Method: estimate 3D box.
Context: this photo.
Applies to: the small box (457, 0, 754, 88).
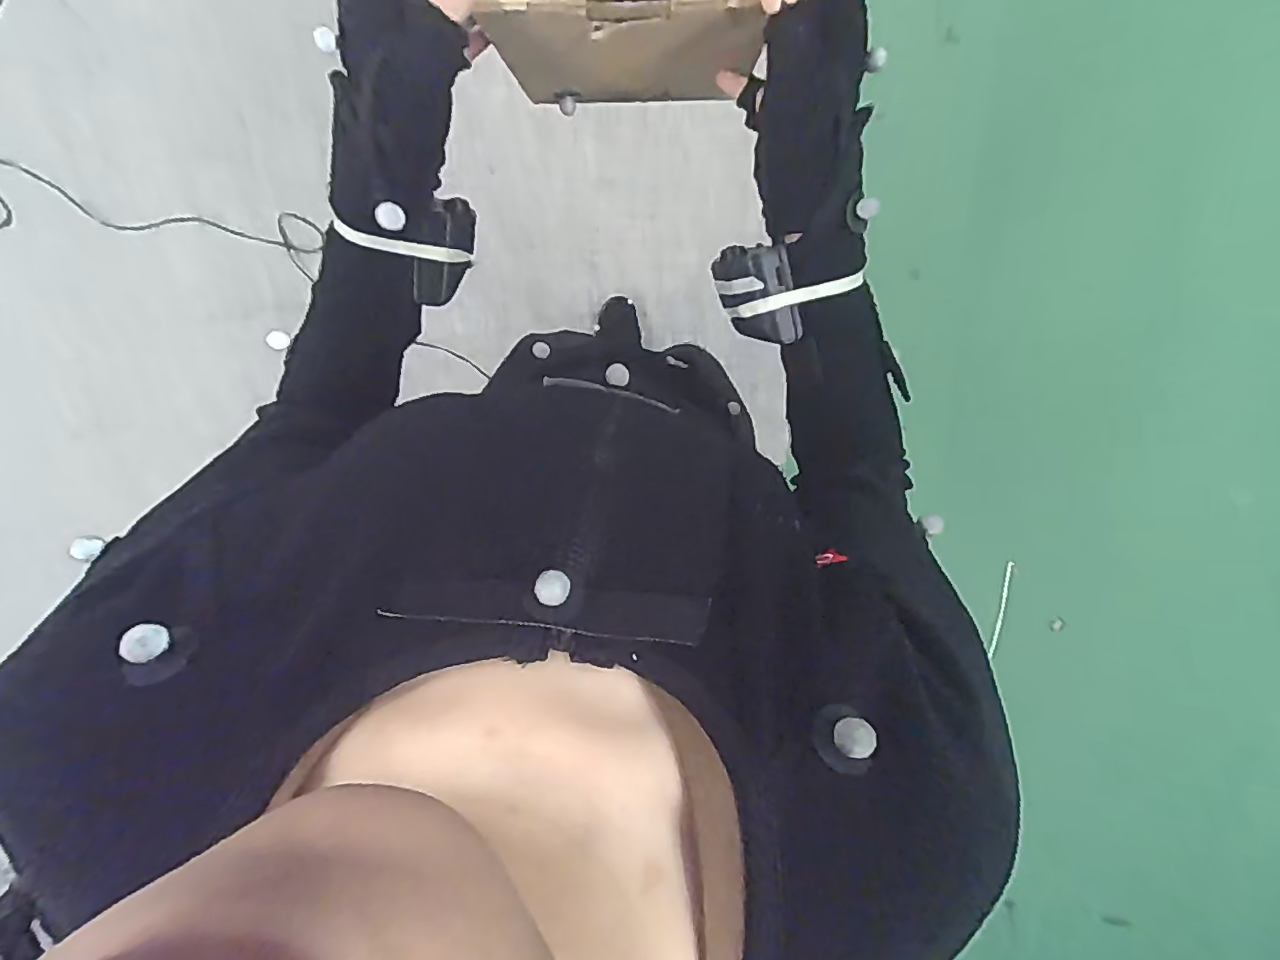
[{"bbox_3d":[-0.013,-0.355,0.318,0.168,0.176,0.179,0,110,1],"label":"small box"}]
